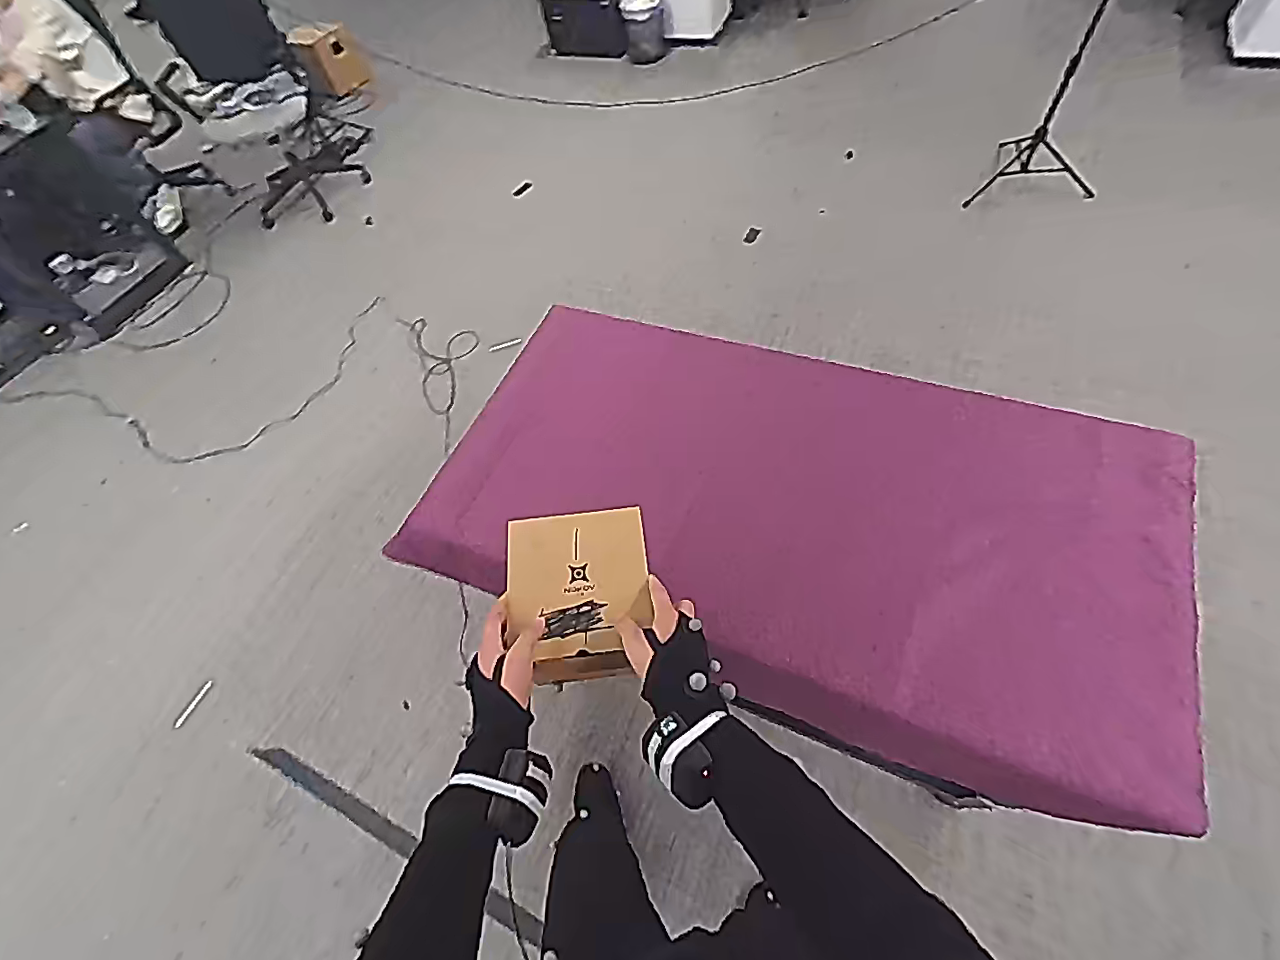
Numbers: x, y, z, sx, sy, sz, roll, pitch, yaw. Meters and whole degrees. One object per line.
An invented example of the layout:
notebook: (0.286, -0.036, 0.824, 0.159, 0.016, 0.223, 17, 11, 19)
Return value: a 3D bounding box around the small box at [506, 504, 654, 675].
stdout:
small box: (-0.071, 0.151, 0.704, 0.168, 0.176, 0.179, -6, 62, -2)
